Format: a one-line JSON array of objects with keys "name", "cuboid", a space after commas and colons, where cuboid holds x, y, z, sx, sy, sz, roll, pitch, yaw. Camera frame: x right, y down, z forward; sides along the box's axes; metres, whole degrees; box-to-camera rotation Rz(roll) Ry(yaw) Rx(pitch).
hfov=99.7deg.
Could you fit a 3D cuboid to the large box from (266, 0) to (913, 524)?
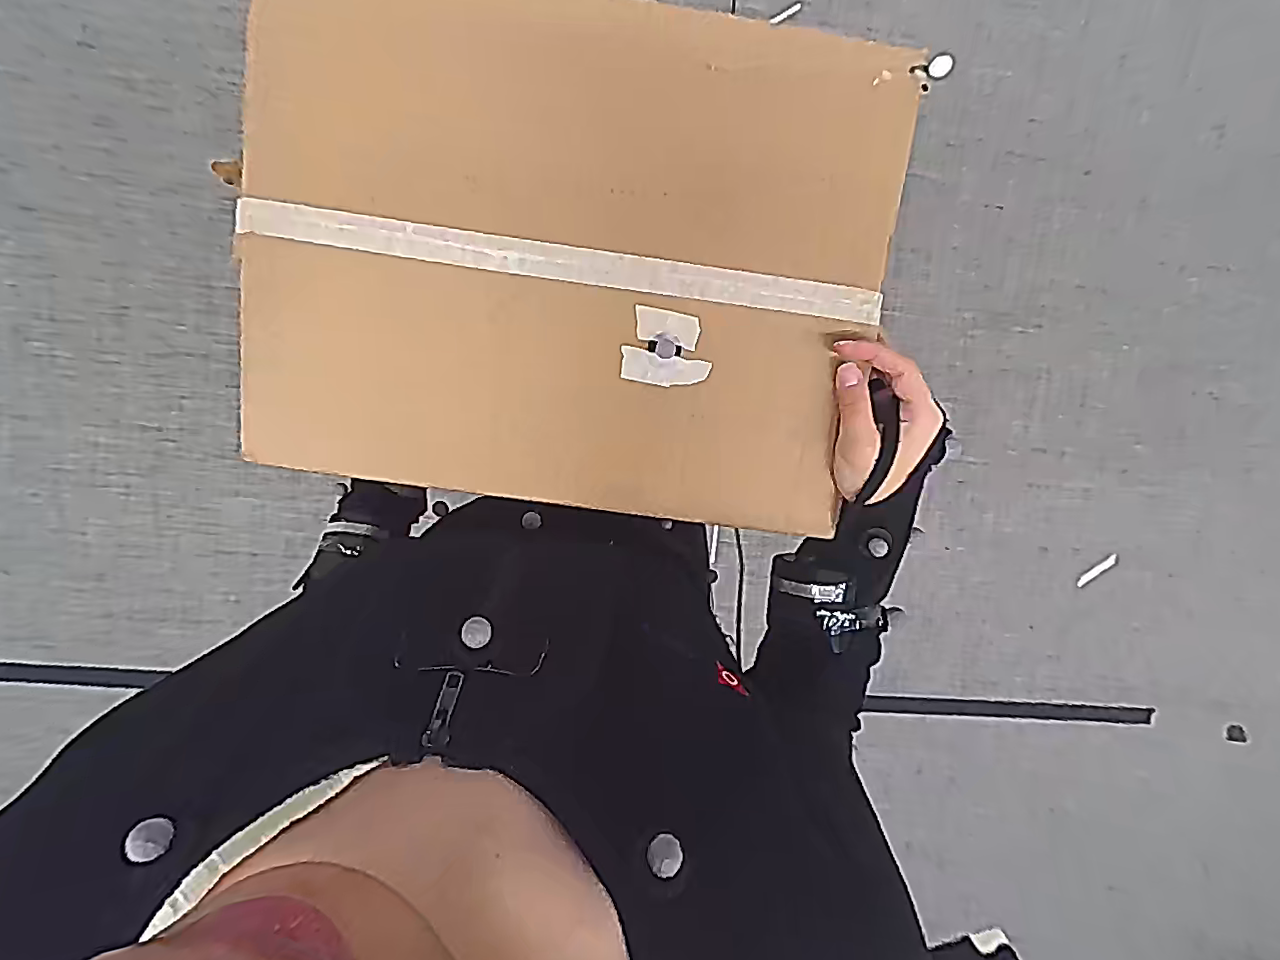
[{"name": "large box", "cuboid": [-0.046, -0.159, 0.501, 0.408, 0.320, 0.320, 7, 99, -4]}]
